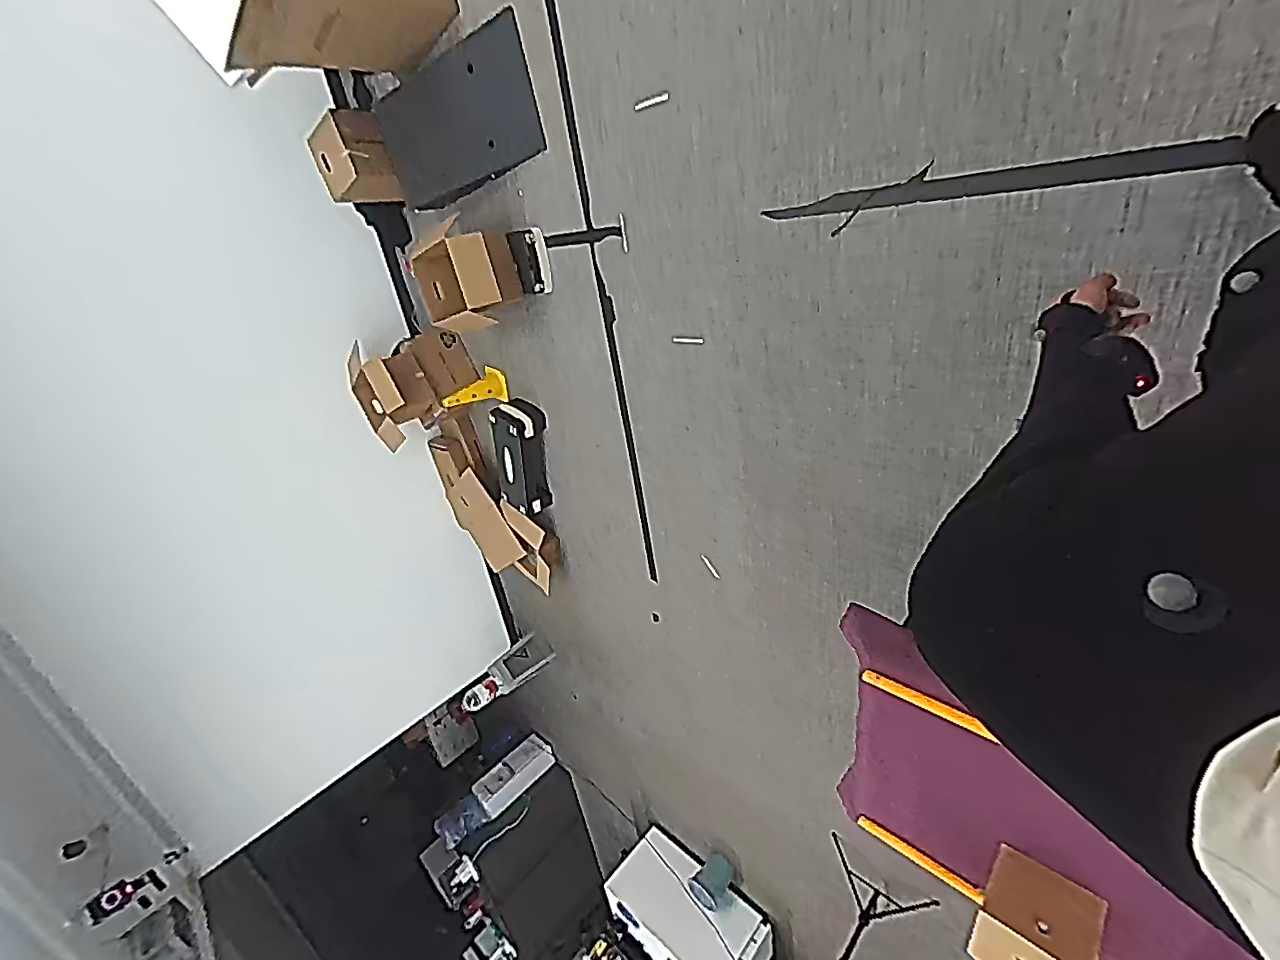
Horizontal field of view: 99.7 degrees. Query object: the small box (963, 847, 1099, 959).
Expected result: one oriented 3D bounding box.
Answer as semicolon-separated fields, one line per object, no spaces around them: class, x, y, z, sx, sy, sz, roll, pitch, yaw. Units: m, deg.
small box;0.779;0.883;1.081;0.179;0.176;0.168;17;125;41
